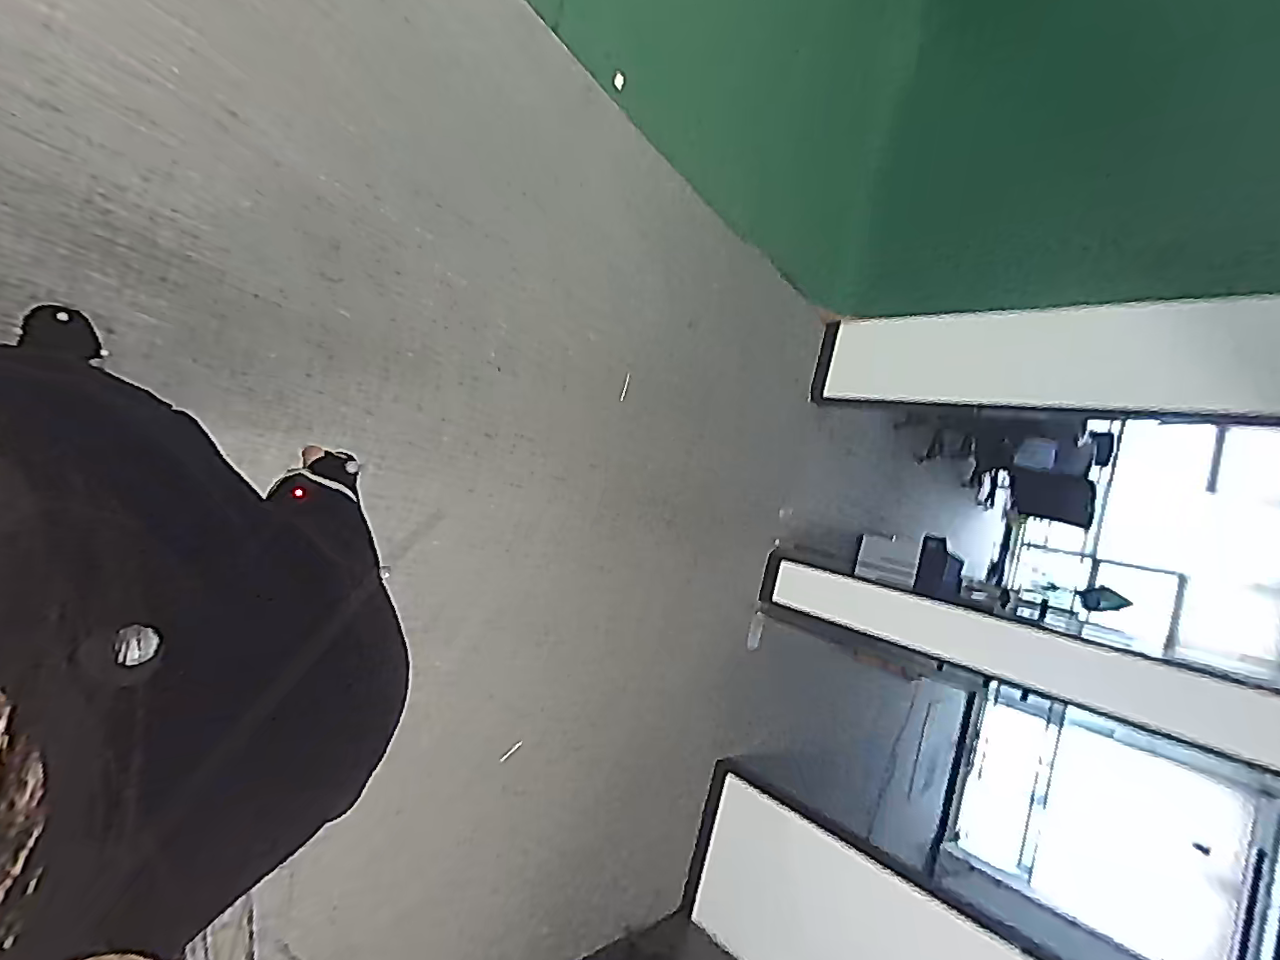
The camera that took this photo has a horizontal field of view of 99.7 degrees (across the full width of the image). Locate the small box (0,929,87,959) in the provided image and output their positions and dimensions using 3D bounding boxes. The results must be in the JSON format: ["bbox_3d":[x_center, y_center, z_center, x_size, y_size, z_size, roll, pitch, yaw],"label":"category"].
[{"bbox_3d":[-0.972,0.841,0.811,0.179,0.176,0.168,15,88,-47],"label":"small box"}]
